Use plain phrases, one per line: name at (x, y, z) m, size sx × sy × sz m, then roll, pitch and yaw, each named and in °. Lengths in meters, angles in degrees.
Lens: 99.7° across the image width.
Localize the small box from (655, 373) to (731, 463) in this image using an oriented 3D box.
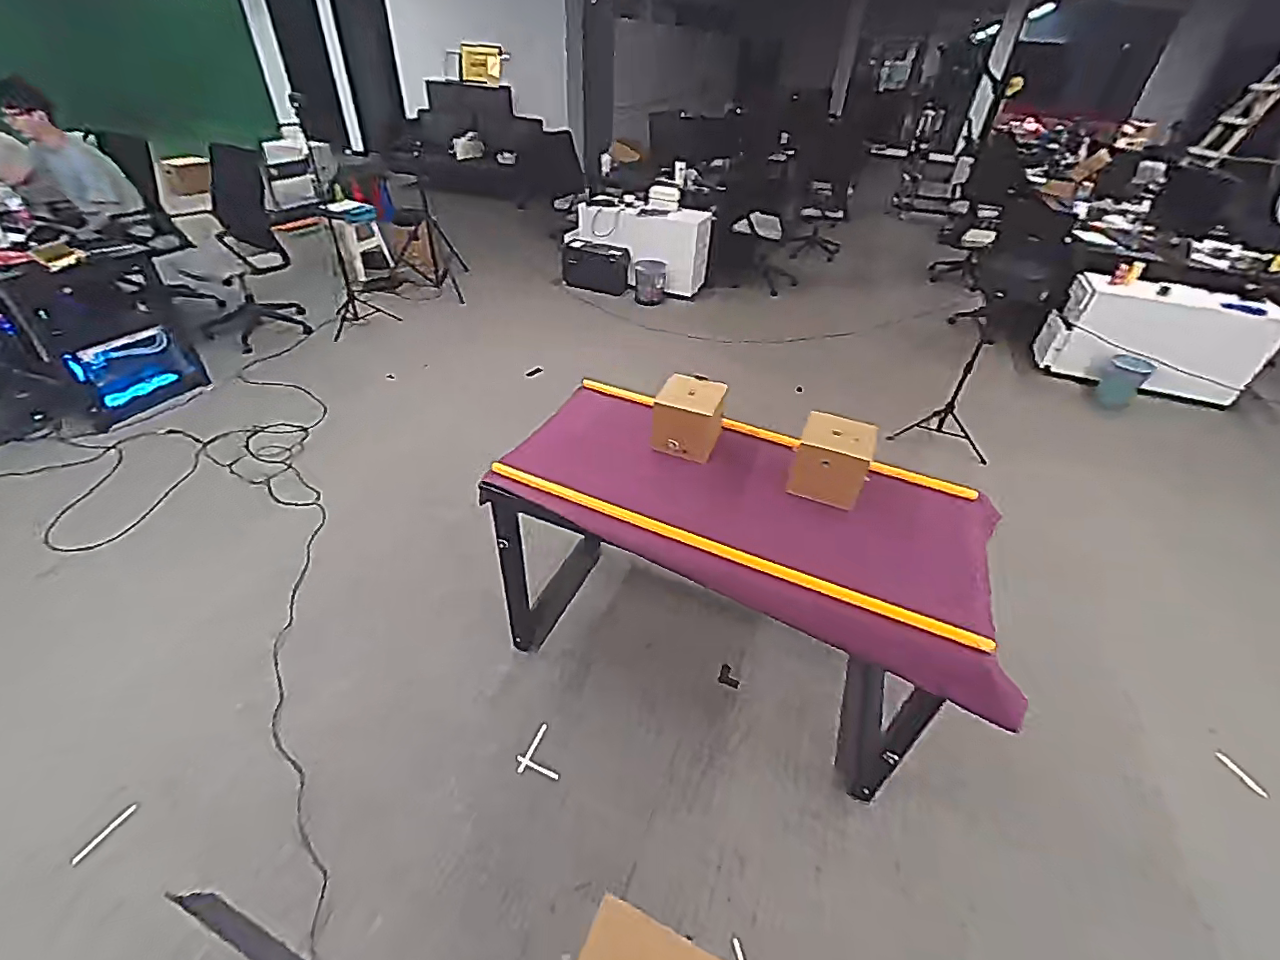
small box at (0.148, -0.177, 1.543) m, size 0.168 × 0.176 × 0.179 m, roll 16°, pitch 42°, yaw 16°

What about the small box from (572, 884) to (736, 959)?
small box at (0.003, 0.566, 0.578) m, size 0.179 × 0.176 × 0.168 m, roll 22°, pitch 54°, yaw 13°

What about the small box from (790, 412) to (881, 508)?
small box at (0.508, -0.051, 1.417) m, size 0.179 × 0.176 × 0.168 m, roll 18°, pitch 43°, yaw 17°
